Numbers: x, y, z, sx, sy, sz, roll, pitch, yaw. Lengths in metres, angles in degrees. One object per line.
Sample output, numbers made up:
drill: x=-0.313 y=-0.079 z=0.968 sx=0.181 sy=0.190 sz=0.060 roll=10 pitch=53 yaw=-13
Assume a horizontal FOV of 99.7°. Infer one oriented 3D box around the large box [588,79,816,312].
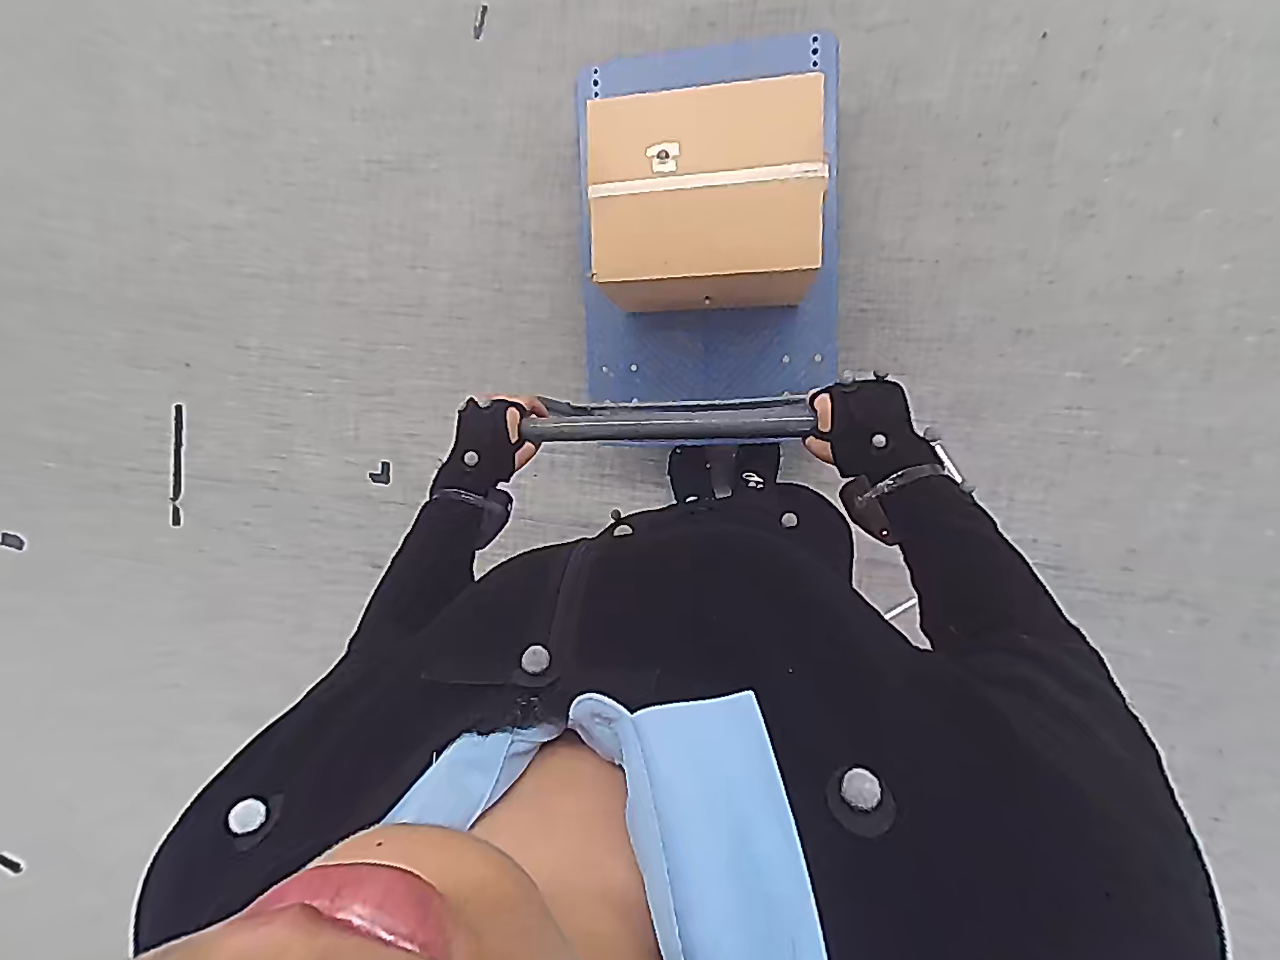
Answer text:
large box: x=0.134 y=-0.536 z=1.104 sx=0.408 sy=0.320 sz=0.320 roll=0 pitch=96 yaw=11
